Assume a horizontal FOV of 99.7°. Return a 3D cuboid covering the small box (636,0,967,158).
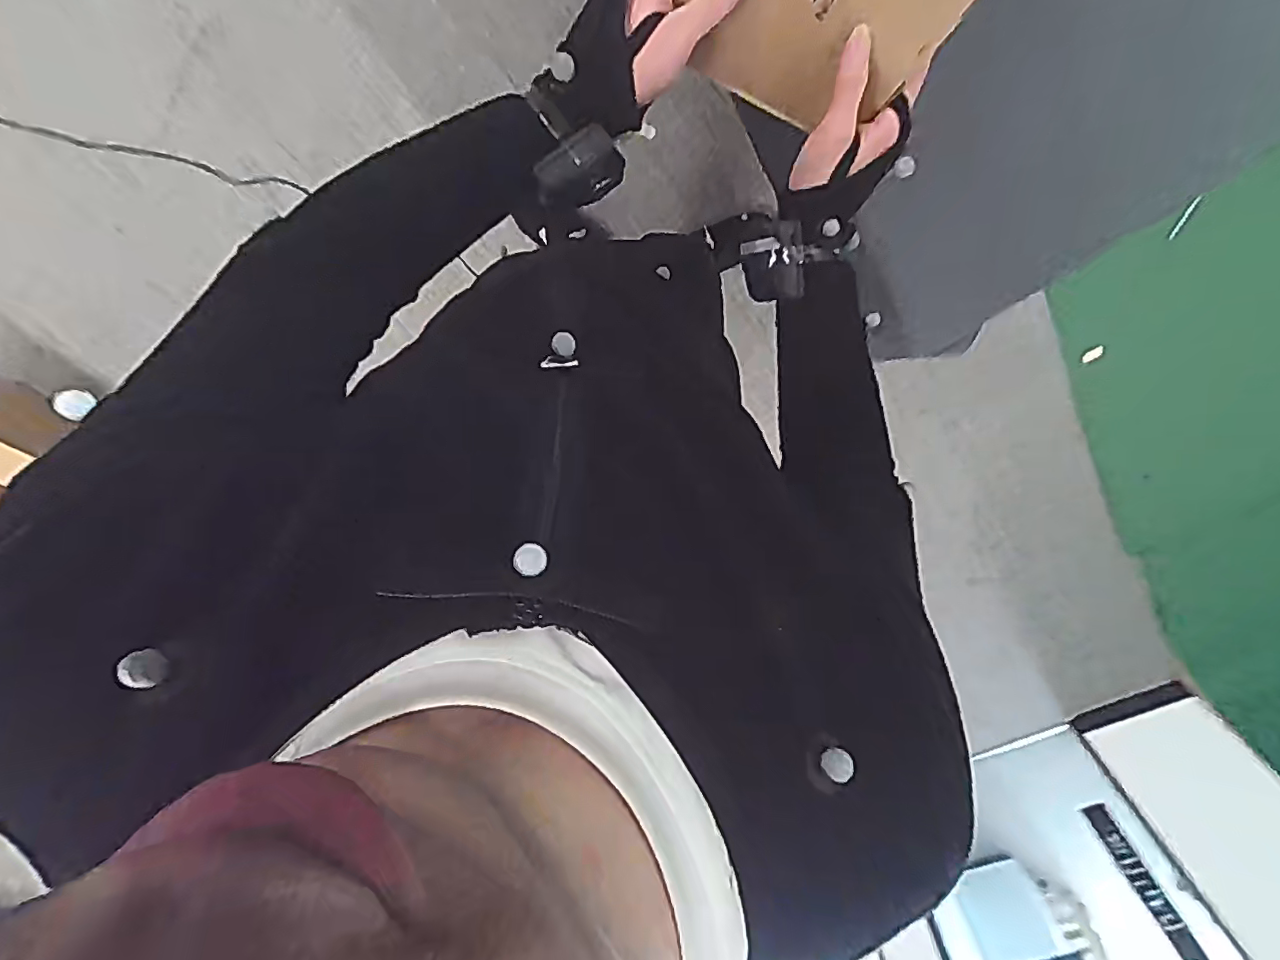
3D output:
[{"bbox_3d":[0.117,-0.377,0.367,0.179,0.176,0.168,17,159,-16],"label":"small box"}]
